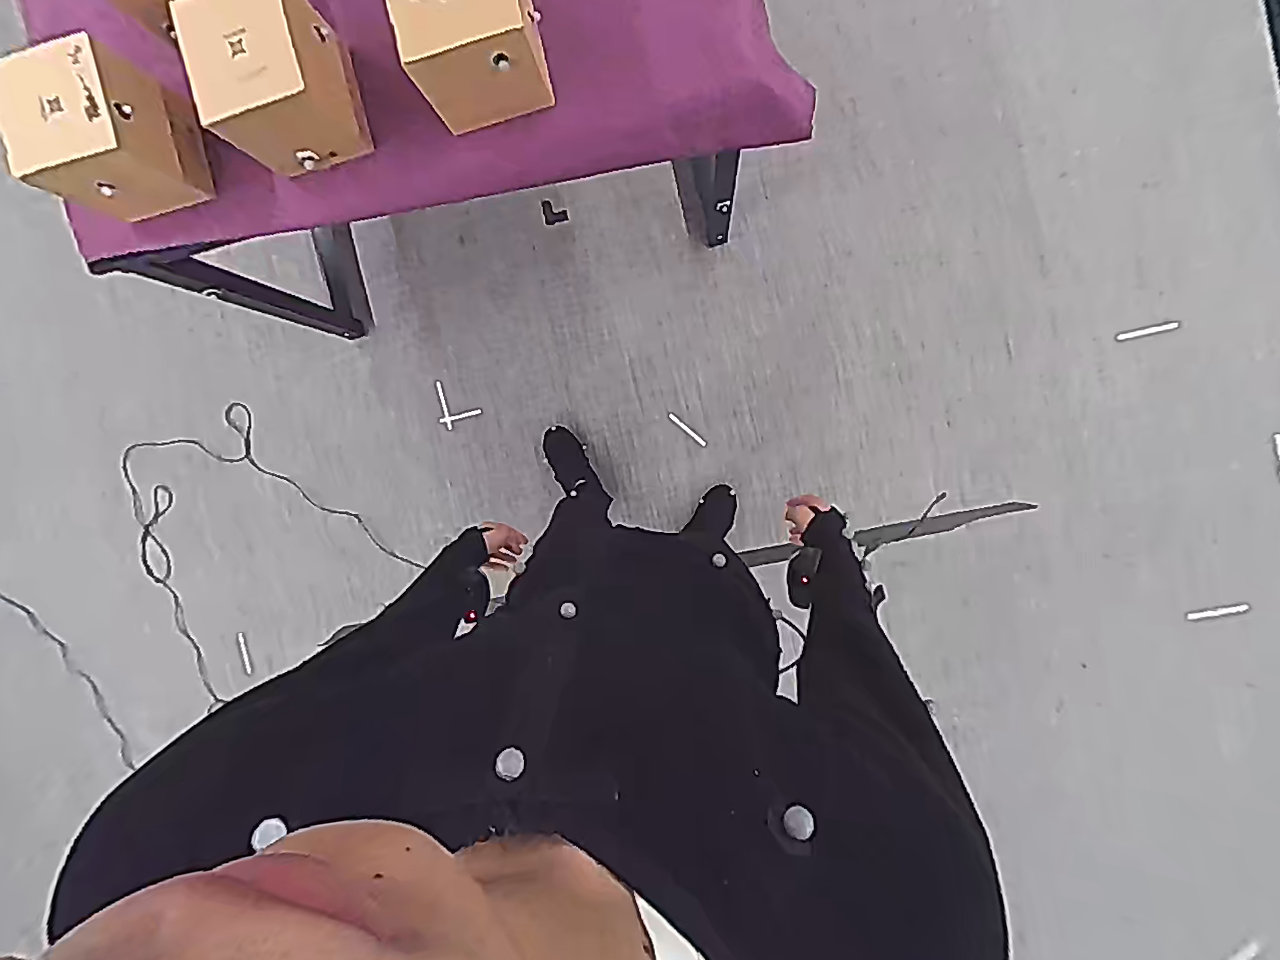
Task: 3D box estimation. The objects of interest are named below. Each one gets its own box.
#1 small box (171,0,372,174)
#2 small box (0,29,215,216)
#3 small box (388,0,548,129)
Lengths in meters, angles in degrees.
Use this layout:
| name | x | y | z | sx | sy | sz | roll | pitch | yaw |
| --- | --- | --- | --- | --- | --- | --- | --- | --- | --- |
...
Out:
| name | x | y | z | sx | sy | sz | roll | pitch | yaw |
| --- | --- | --- | --- | --- | --- | --- | --- | --- | --- |
| small box | -0.547 | -0.610 | 0.826 | 0.168 | 0.176 | 0.179 | -13 | 94 | 7 |
| small box | -0.835 | -0.547 | 0.855 | 0.179 | 0.176 | 0.168 | -12 | 93 | 7 |
| small box | -0.244 | -0.660 | 0.790 | 0.179 | 0.176 | 0.168 | -12 | 92 | 7 |
